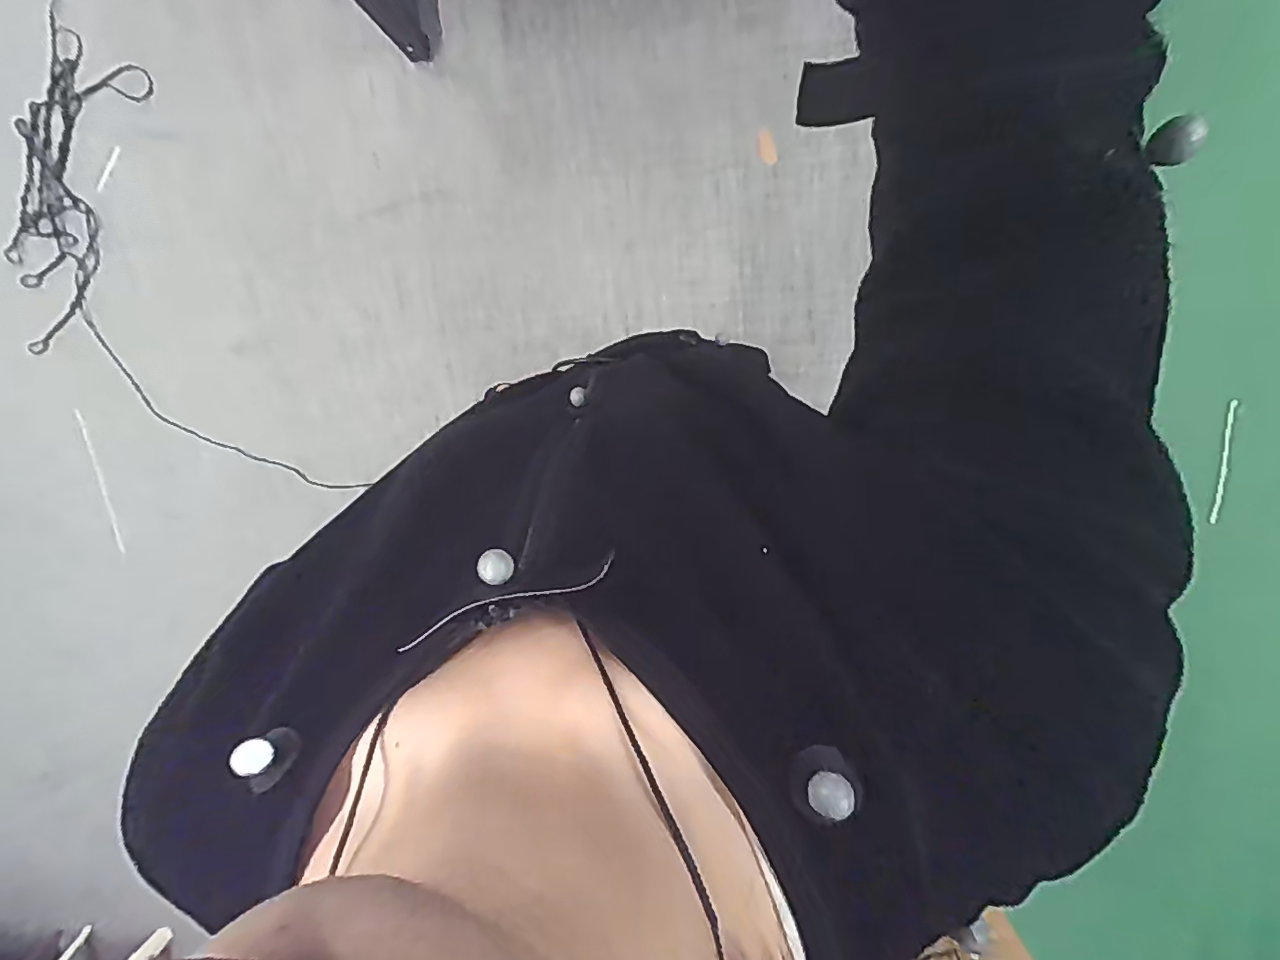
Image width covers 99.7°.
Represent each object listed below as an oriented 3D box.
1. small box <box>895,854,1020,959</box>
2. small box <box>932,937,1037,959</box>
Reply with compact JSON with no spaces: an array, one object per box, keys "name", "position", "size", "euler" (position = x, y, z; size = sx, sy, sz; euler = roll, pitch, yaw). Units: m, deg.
[{"name":"small box","position":[0.626,0.885,1.065],"size":[0.179,0.176,0.168],"euler":[-18,99,9]},{"name":"small box","position":[0.612,0.920,0.905],"size":[0.179,0.176,0.168],"euler":[-17,100,10]}]
